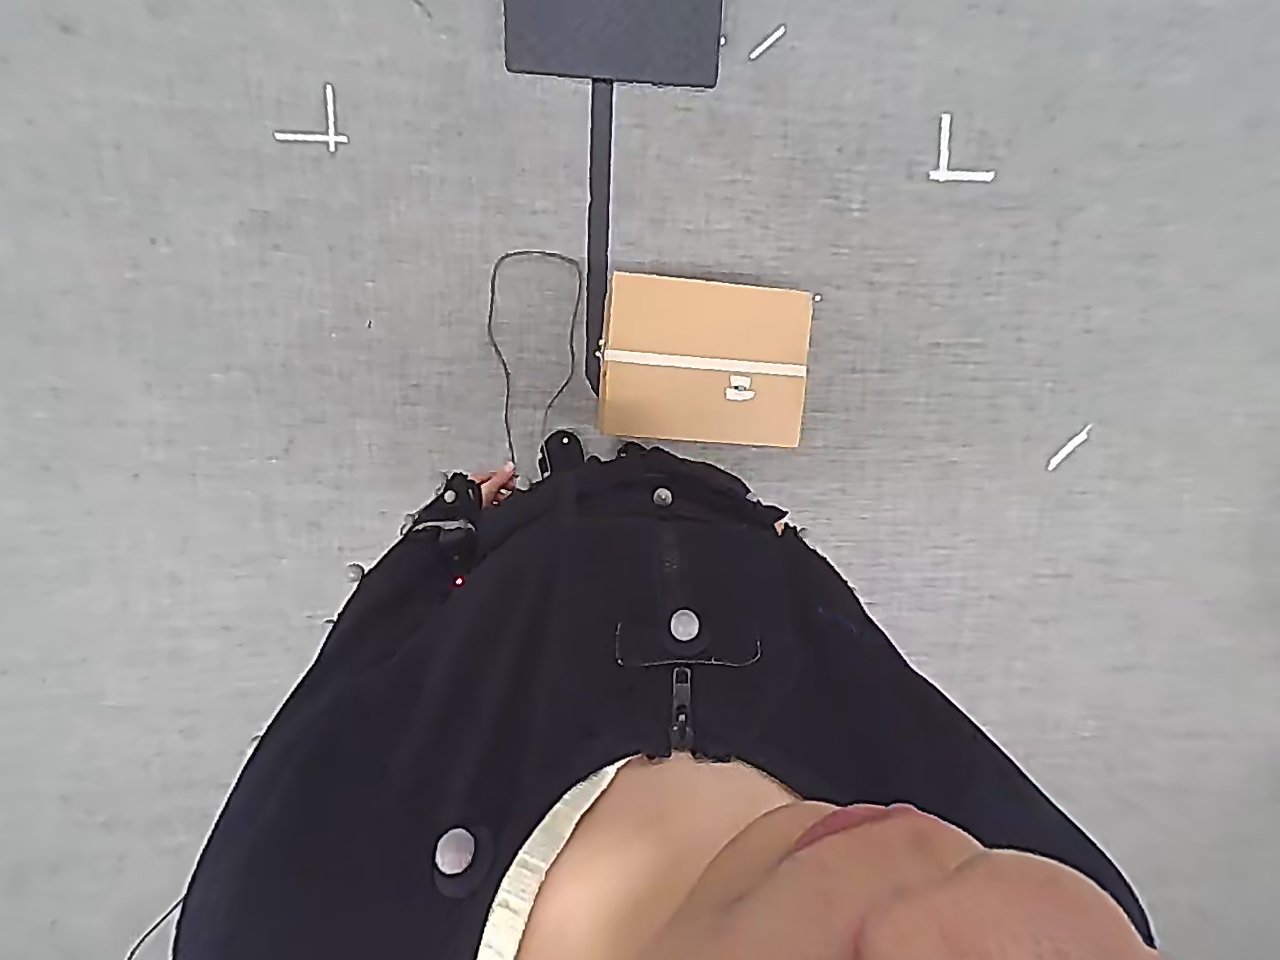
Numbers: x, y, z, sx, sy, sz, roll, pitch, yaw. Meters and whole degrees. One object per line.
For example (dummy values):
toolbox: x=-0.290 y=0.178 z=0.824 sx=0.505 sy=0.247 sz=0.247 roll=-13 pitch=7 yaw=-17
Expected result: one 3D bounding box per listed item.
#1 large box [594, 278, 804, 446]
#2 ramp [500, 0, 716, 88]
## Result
large box: x=0.107 y=-0.247 z=1.224 sx=0.408 sy=0.320 sz=0.320 roll=3 pitch=98 yaw=-8
ramp: x=-0.055 y=-1.406 z=1.111 sx=0.509 sy=0.206 sz=0.991 roll=-2 pitch=98 yaw=-7
